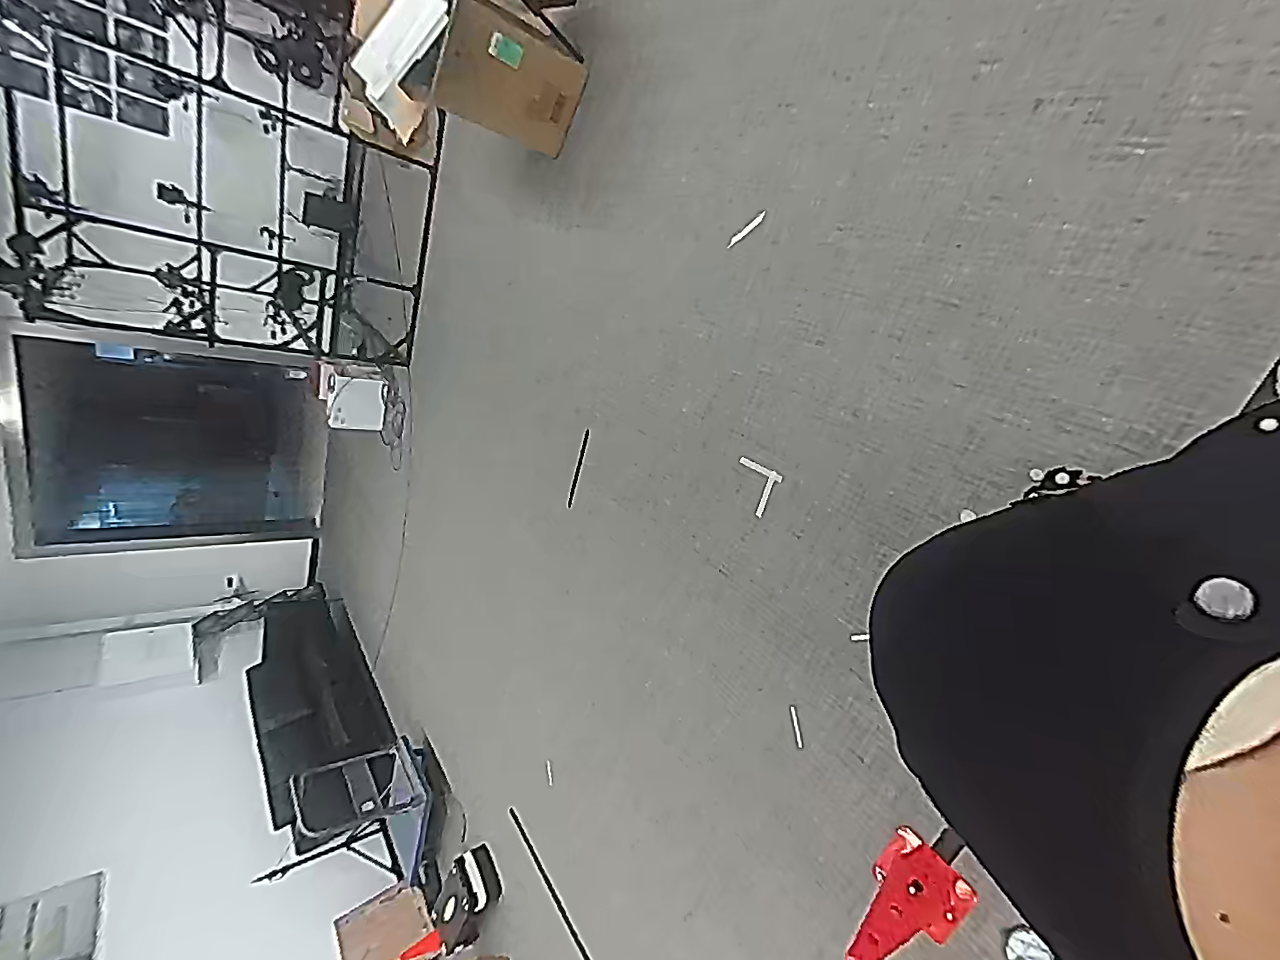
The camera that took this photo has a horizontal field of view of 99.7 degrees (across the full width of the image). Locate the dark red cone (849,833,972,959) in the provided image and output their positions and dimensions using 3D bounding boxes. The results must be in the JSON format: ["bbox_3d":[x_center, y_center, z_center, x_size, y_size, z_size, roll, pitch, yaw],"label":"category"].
[{"bbox_3d":[0.567,1.015,1.230,0.201,0.394,0.202,35,115,42],"label":"dark red cone"}]
